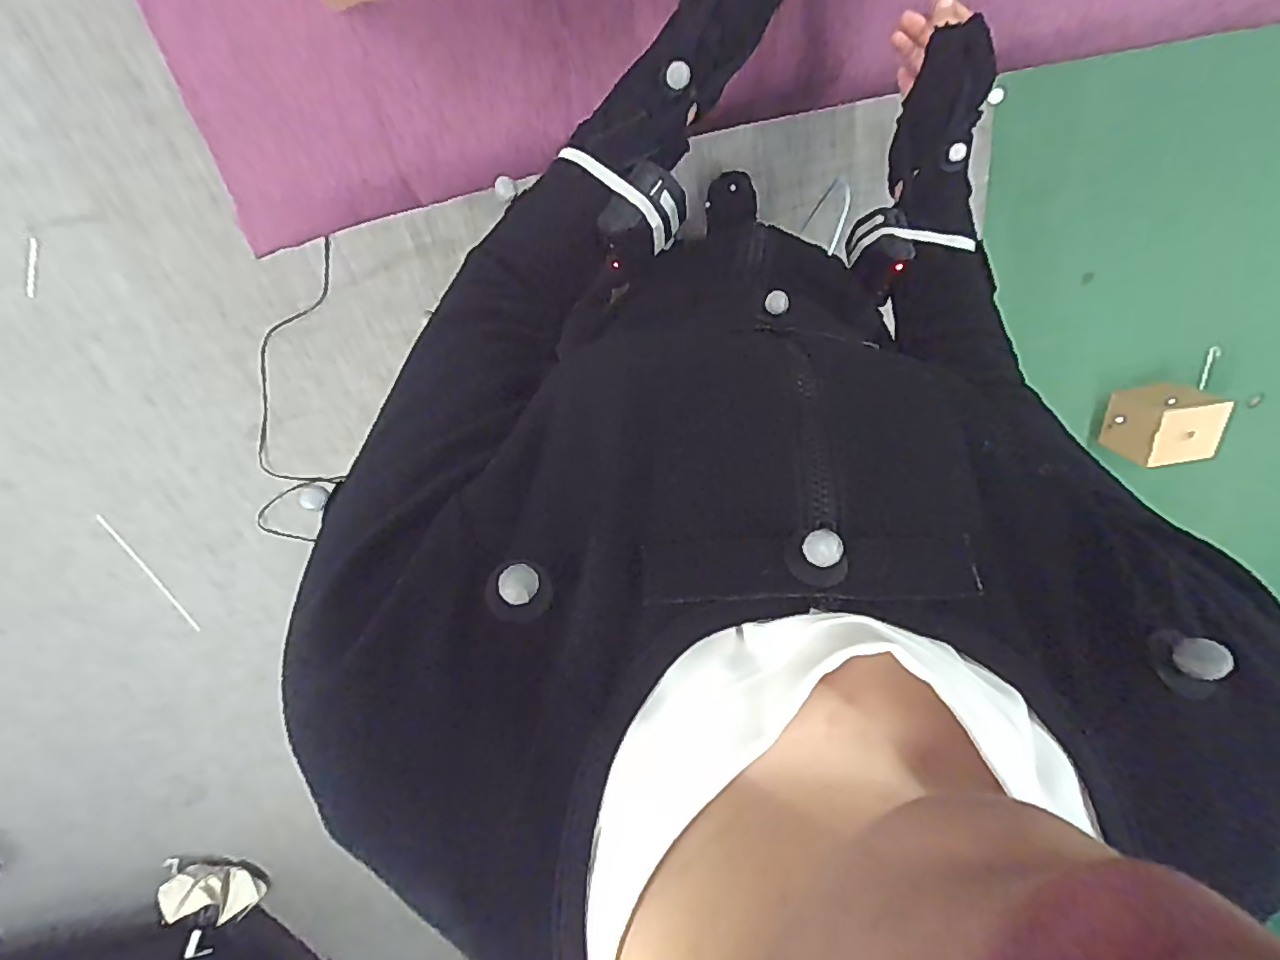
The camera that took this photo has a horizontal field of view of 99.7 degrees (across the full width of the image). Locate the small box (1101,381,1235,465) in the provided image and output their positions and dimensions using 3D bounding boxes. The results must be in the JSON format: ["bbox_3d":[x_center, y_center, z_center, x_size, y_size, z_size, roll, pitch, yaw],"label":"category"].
[{"bbox_3d":[1.432,-0.161,1.480,0.179,0.176,0.168,-9,119,3],"label":"small box"}]
